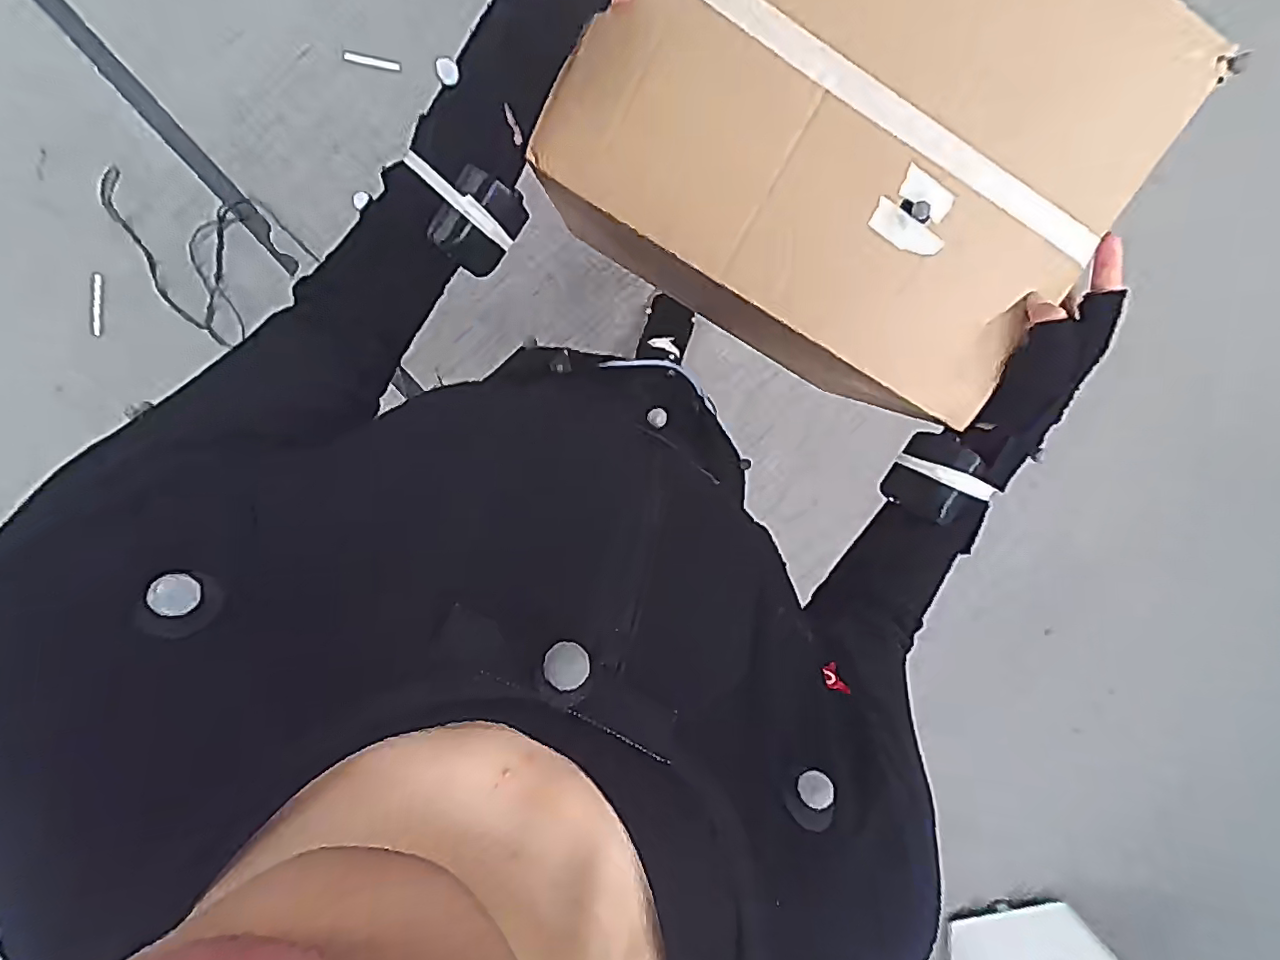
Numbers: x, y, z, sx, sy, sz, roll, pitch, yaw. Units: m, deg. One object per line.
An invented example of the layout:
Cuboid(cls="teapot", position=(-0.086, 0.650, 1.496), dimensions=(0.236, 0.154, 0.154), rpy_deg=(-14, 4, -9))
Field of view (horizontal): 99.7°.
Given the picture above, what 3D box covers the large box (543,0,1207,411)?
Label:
Cuboid(cls="large box", position=(0.164, -0.314, 0.540), dimensions=(0.408, 0.320, 0.320), rpy_deg=(29, 104, -9))
